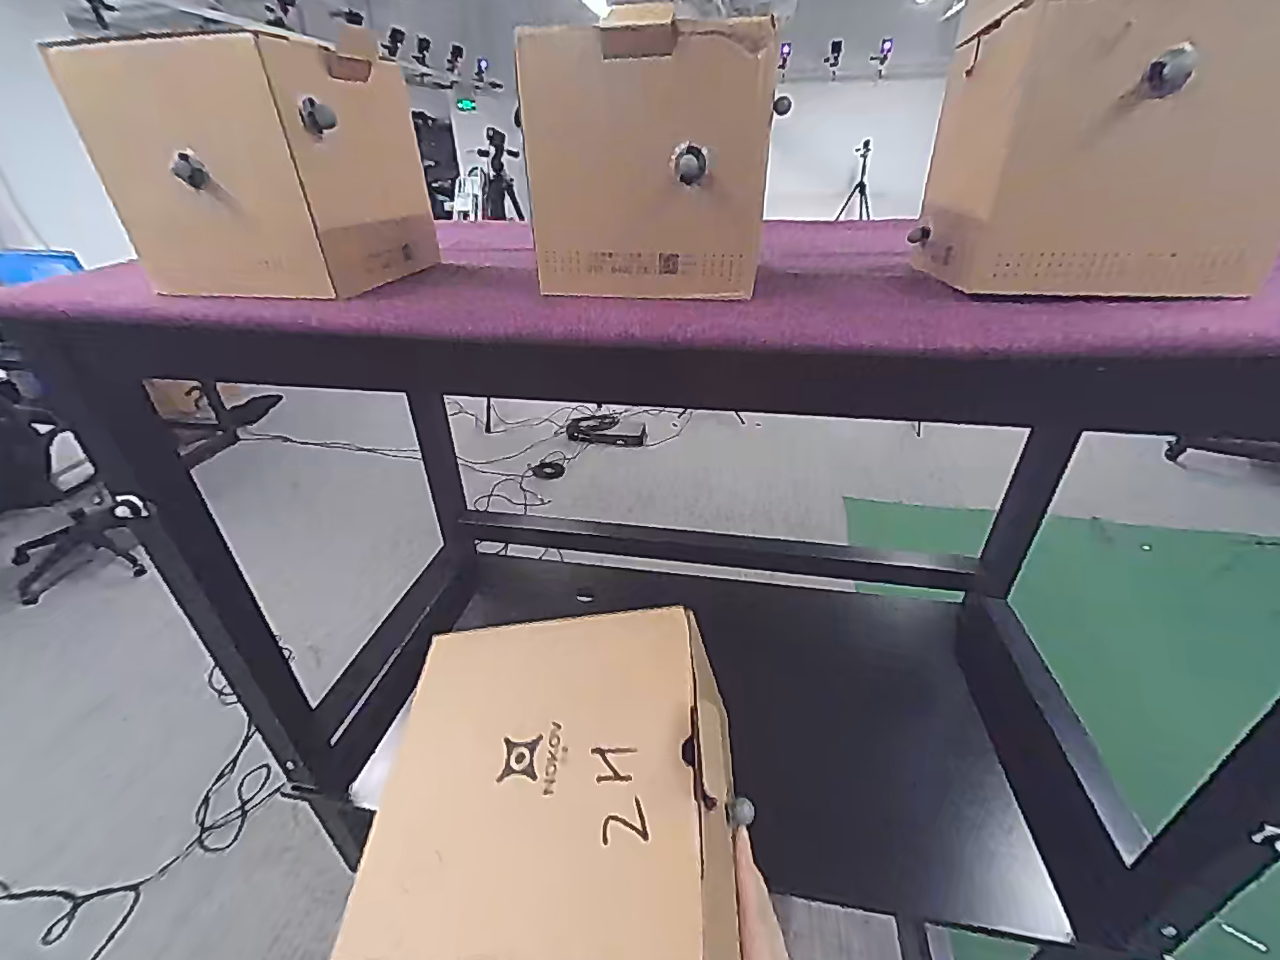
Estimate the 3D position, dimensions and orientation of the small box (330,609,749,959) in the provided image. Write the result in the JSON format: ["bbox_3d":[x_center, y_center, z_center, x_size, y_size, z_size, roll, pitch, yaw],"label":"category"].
[{"bbox_3d":[-0.036,0.204,0.338,0.179,0.176,0.168,-9,44,10],"label":"small box"}]

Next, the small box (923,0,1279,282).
[{"bbox_3d":[0.324,-0.240,0.390,0.179,0.176,0.168,4,29,9],"label":"small box"}]

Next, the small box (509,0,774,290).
[{"bbox_3d":[0.015,-0.255,0.434,0.168,0.176,0.179,6,31,10],"label":"small box"}]

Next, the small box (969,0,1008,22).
[{"bbox_3d":[0.320,-0.385,0.316,0.179,0.176,0.168,4,29,9],"label":"small box"}]
